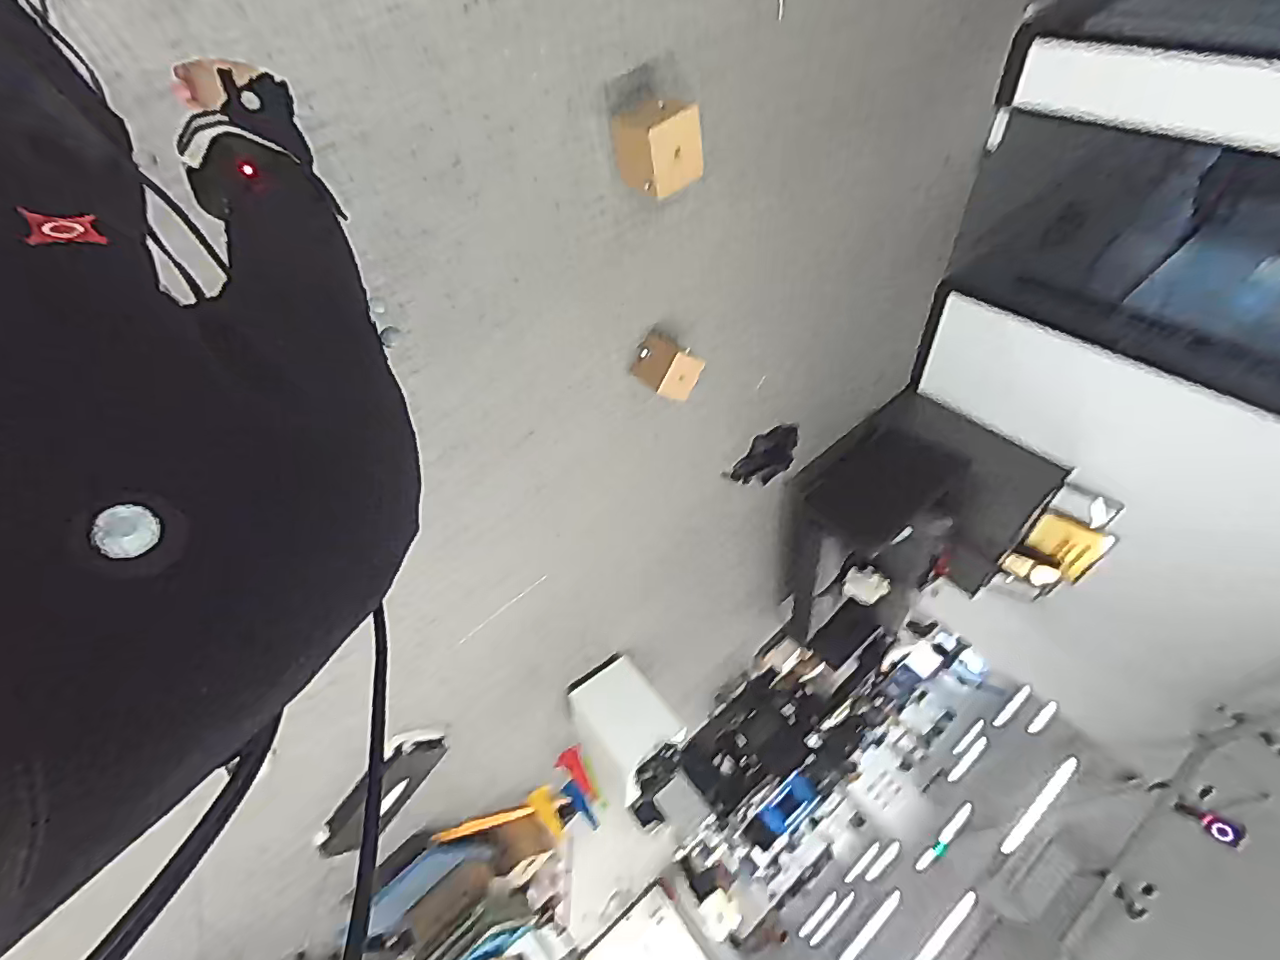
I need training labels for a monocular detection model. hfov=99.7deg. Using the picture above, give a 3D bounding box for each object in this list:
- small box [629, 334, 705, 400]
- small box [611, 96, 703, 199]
[{"bbox_3d":[0.096,-0.412,1.963,0.179,0.176,0.168,5,119,-49],"label":"small box"},{"bbox_3d":[0.044,-0.881,1.424,0.168,0.176,0.179,-38,146,-14],"label":"small box"}]
